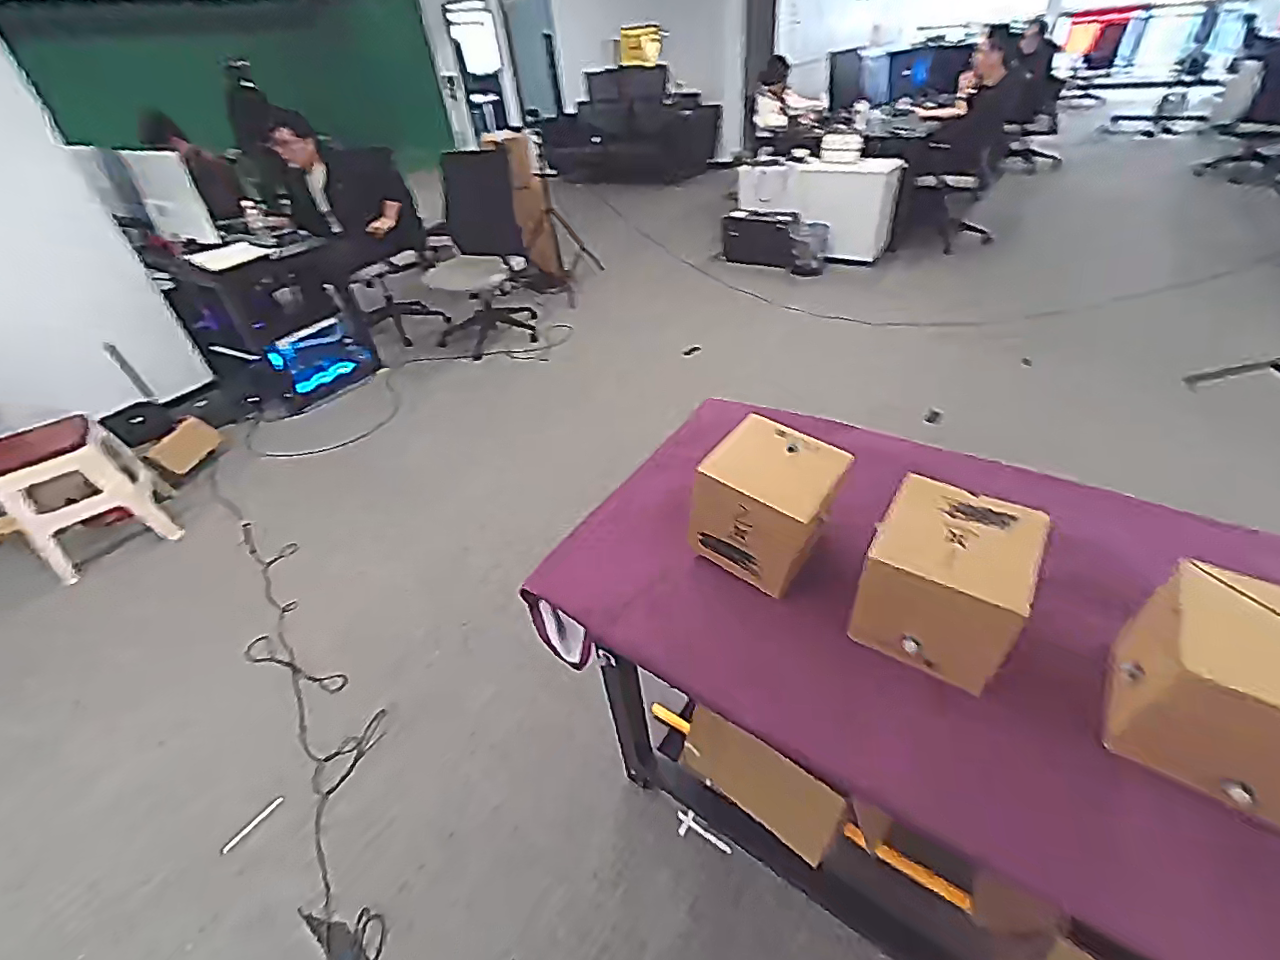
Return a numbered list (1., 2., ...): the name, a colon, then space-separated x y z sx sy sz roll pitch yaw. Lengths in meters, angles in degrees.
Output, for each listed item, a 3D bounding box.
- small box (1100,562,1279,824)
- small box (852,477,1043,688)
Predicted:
1. small box: 0.630 0.216 0.567 0.179 0.176 0.168 21 45 31
2. small box: 0.395 0.130 0.712 0.168 0.176 0.179 20 47 30
